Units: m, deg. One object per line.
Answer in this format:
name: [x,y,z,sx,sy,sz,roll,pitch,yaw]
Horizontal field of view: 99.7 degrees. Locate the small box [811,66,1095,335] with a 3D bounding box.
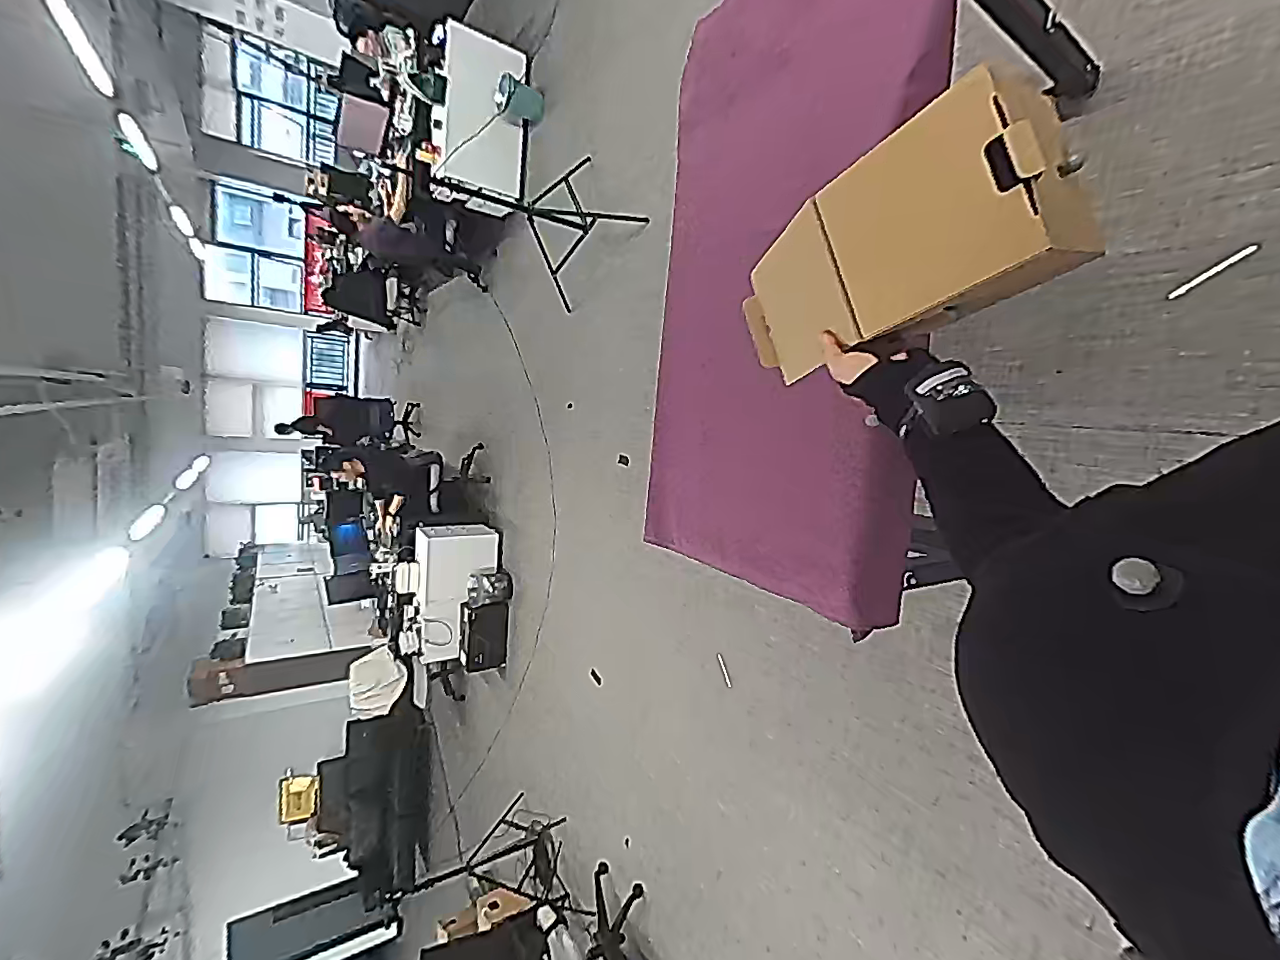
small box: [0.316,-0.264,0.555,0.179,0.176,0.168,-22,85,53]
